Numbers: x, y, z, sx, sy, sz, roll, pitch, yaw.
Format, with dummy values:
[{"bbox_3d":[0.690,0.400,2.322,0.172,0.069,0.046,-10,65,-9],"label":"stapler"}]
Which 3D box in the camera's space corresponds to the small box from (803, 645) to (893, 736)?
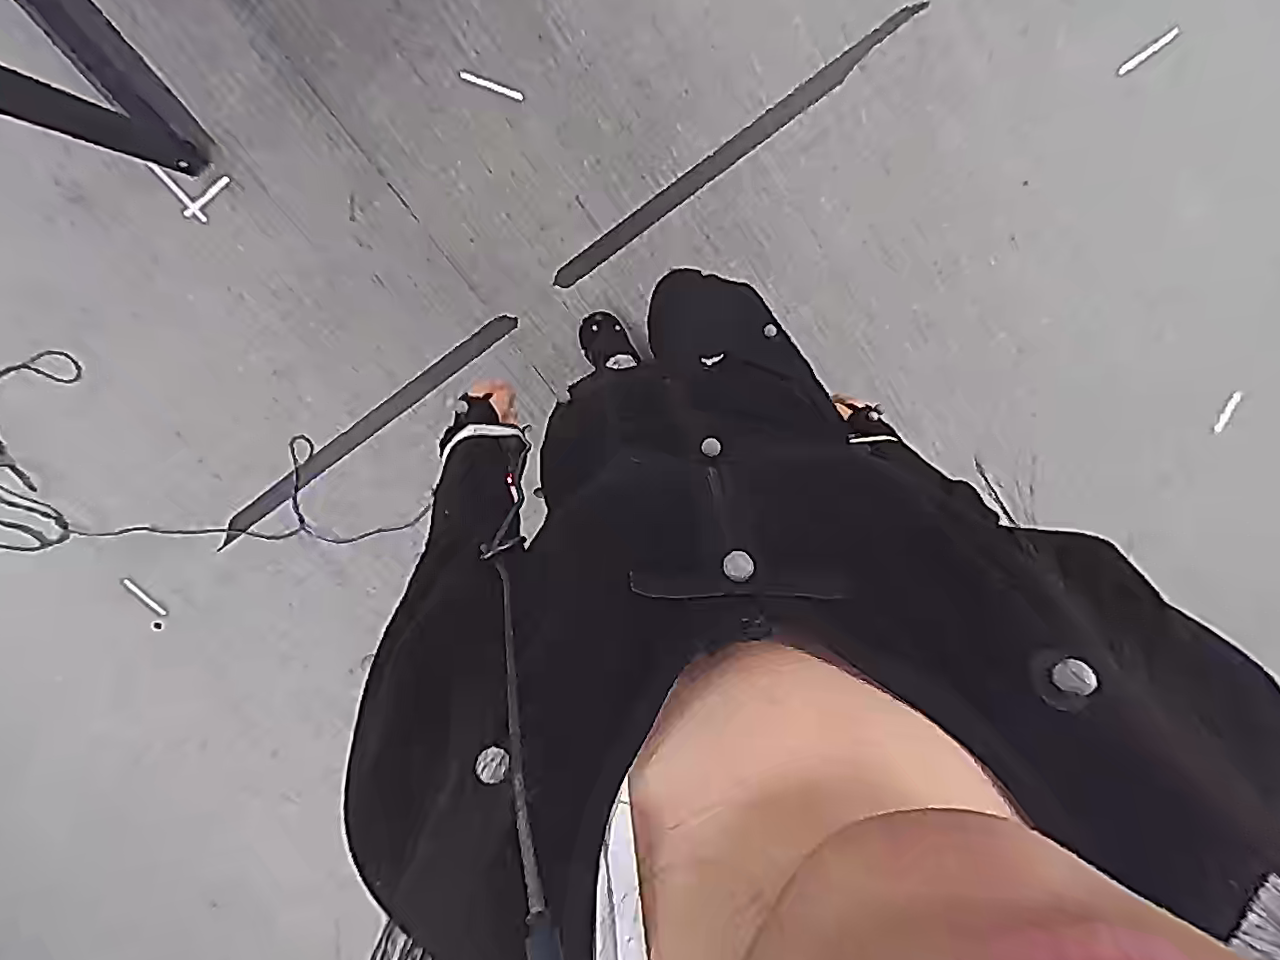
[{"bbox_3d":[0.635,0.641,1.674,0.168,0.176,0.179,-36,107,8],"label":"small box"}]
